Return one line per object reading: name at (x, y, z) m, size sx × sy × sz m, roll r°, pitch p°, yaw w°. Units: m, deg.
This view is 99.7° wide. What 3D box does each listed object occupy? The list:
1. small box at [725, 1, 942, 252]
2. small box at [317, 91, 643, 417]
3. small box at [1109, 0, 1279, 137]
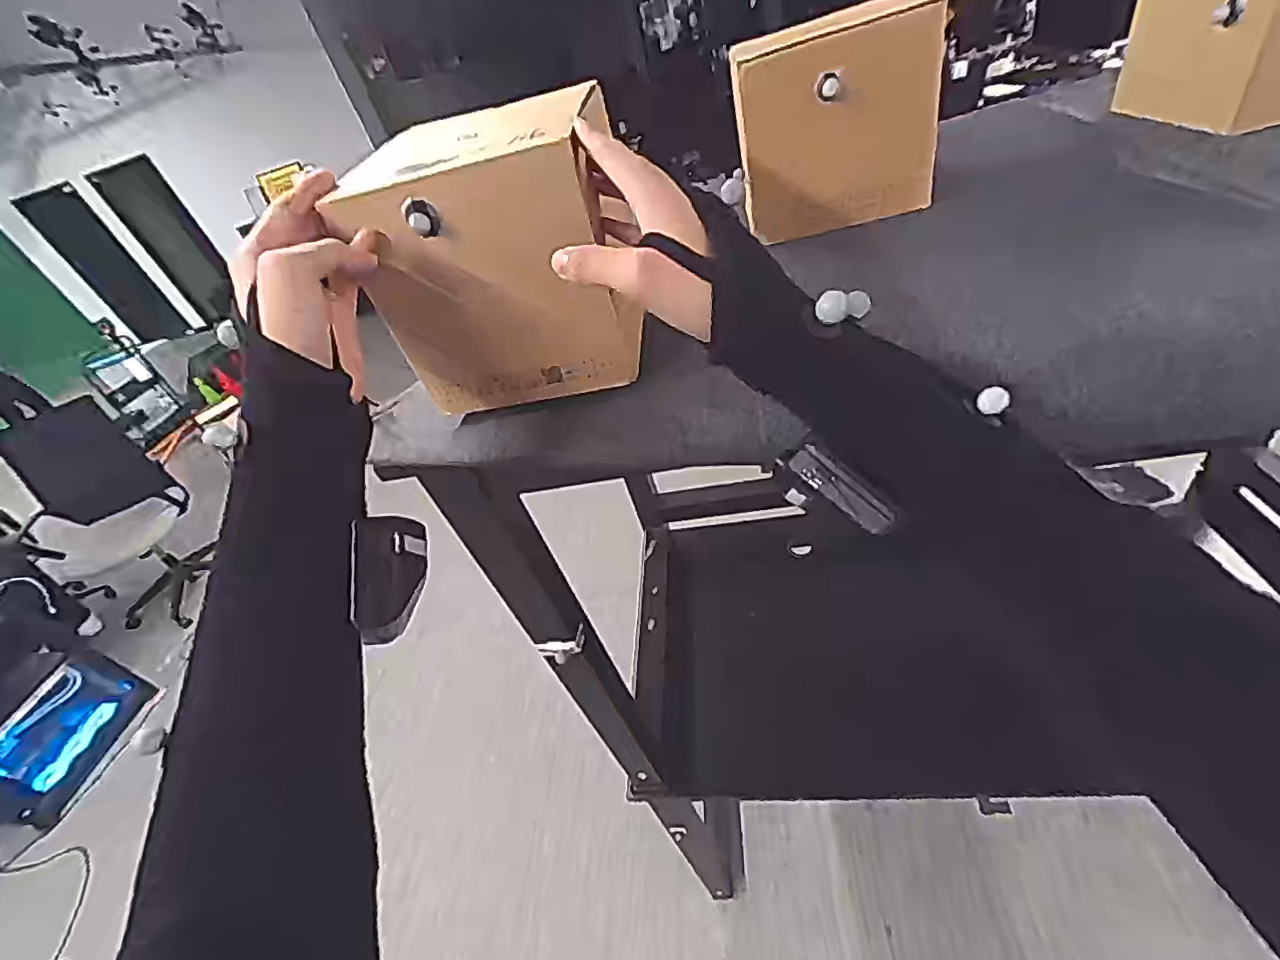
small box at (0.190, -0.366, 0.569) m, size 0.179 × 0.176 × 0.168 m, roll -9°, pitch 40°, yaw 14°
small box at (-0.098, -0.174, 0.428) m, size 0.168 × 0.176 × 0.179 m, roll -9°, pitch 43°, yaw 12°
small box at (0.576, -0.428, 0.479) m, size 0.168 × 0.176 × 0.179 m, roll -10°, pitch 40°, yaw 11°
